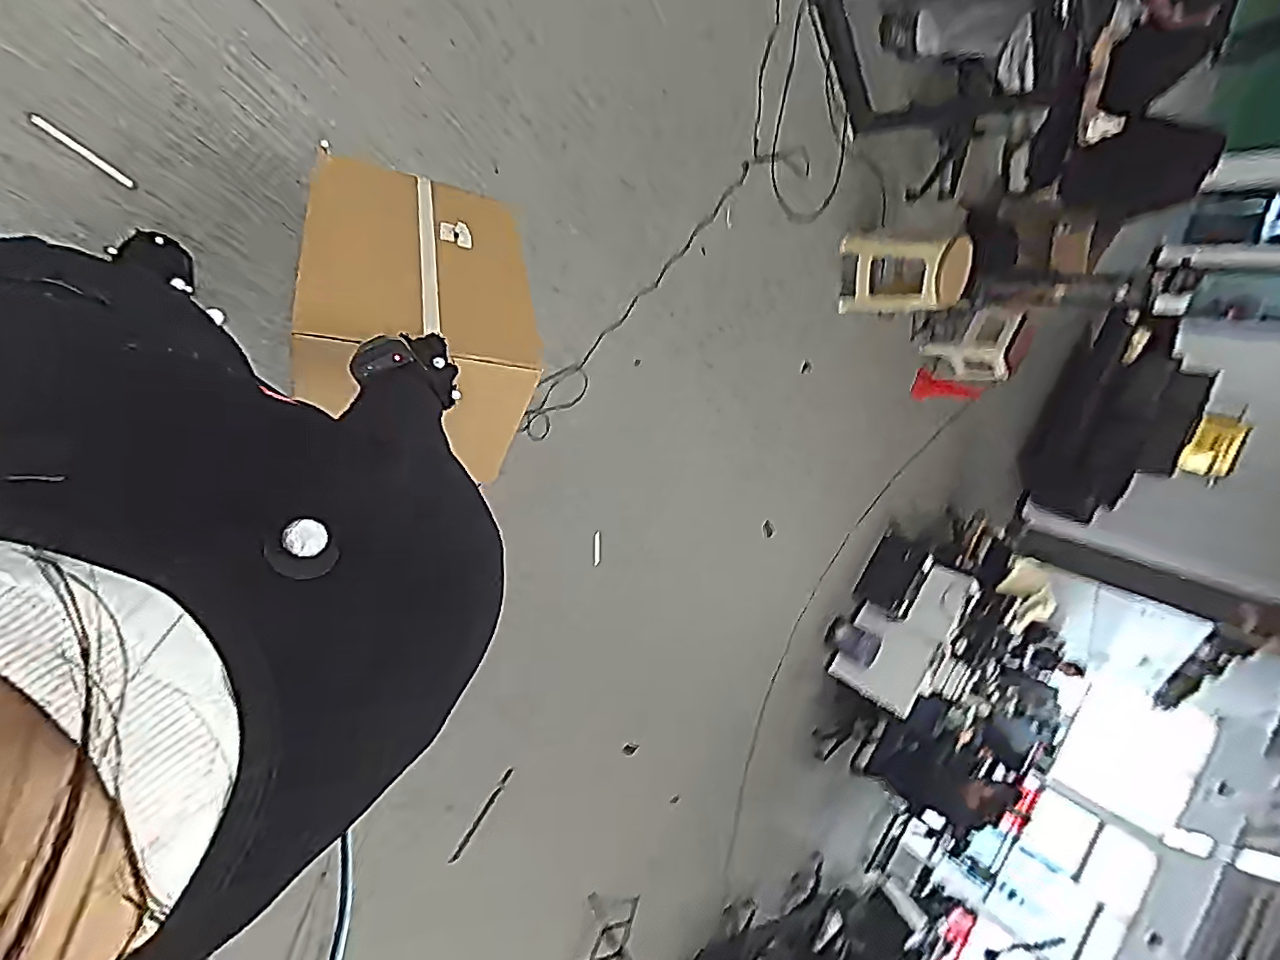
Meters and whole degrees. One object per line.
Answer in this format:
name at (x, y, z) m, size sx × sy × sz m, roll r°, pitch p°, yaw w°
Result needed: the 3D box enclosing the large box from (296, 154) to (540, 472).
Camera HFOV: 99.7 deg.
large box at (-0.392, -0.259, 0.927) m, size 0.320 × 0.408 × 0.320 m, roll 2°, pitch 146°, yaw -30°
